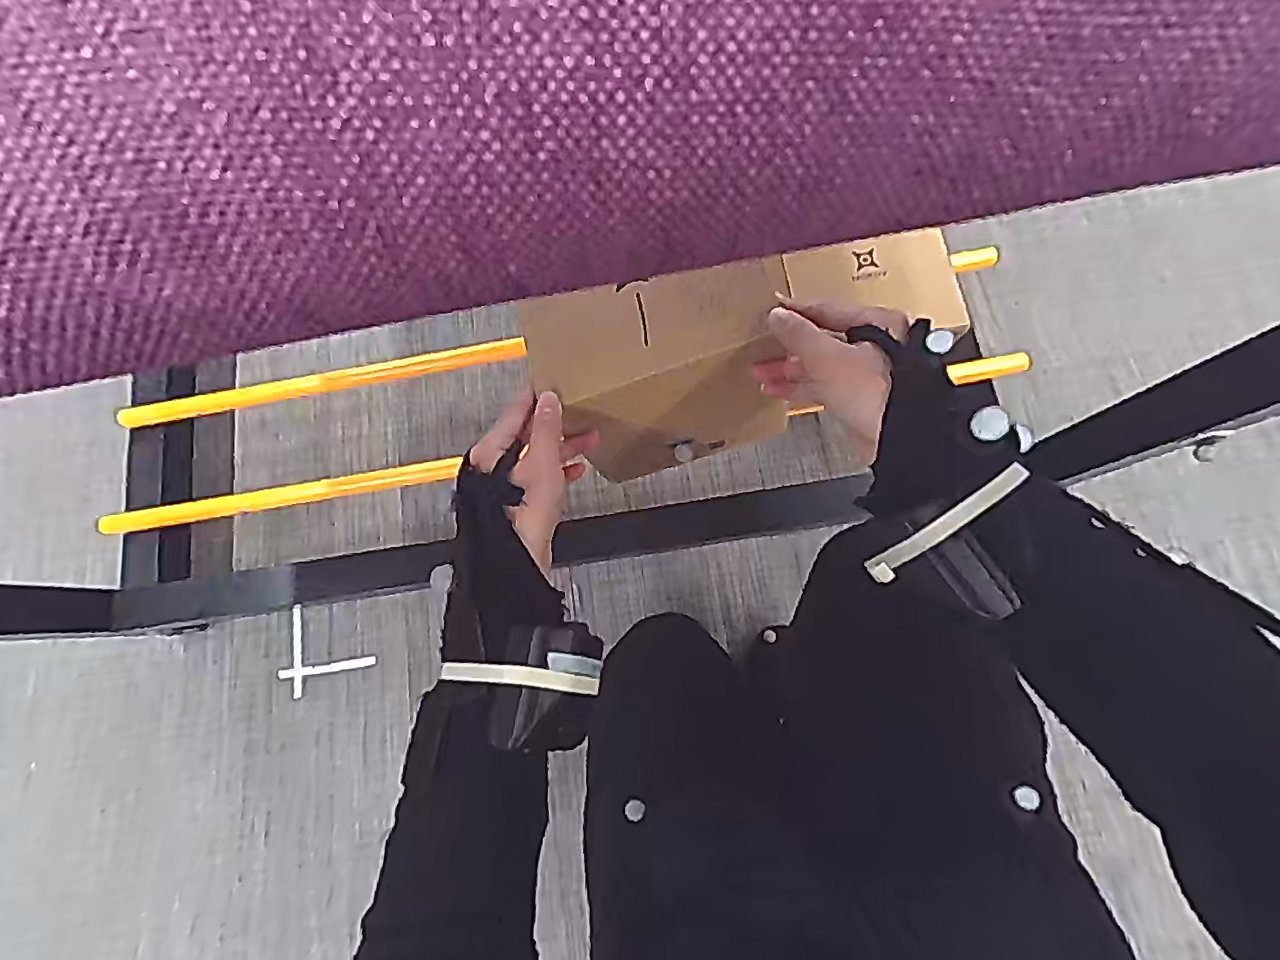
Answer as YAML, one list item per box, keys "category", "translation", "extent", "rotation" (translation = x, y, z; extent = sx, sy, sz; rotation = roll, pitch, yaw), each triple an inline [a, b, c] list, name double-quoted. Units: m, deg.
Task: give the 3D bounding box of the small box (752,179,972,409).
- category: "small box"
  translation: [0.234, -0.201, 0.622]
  extent: [0.168, 0.176, 0.179]
  rotation: [-10, 77, 1]
